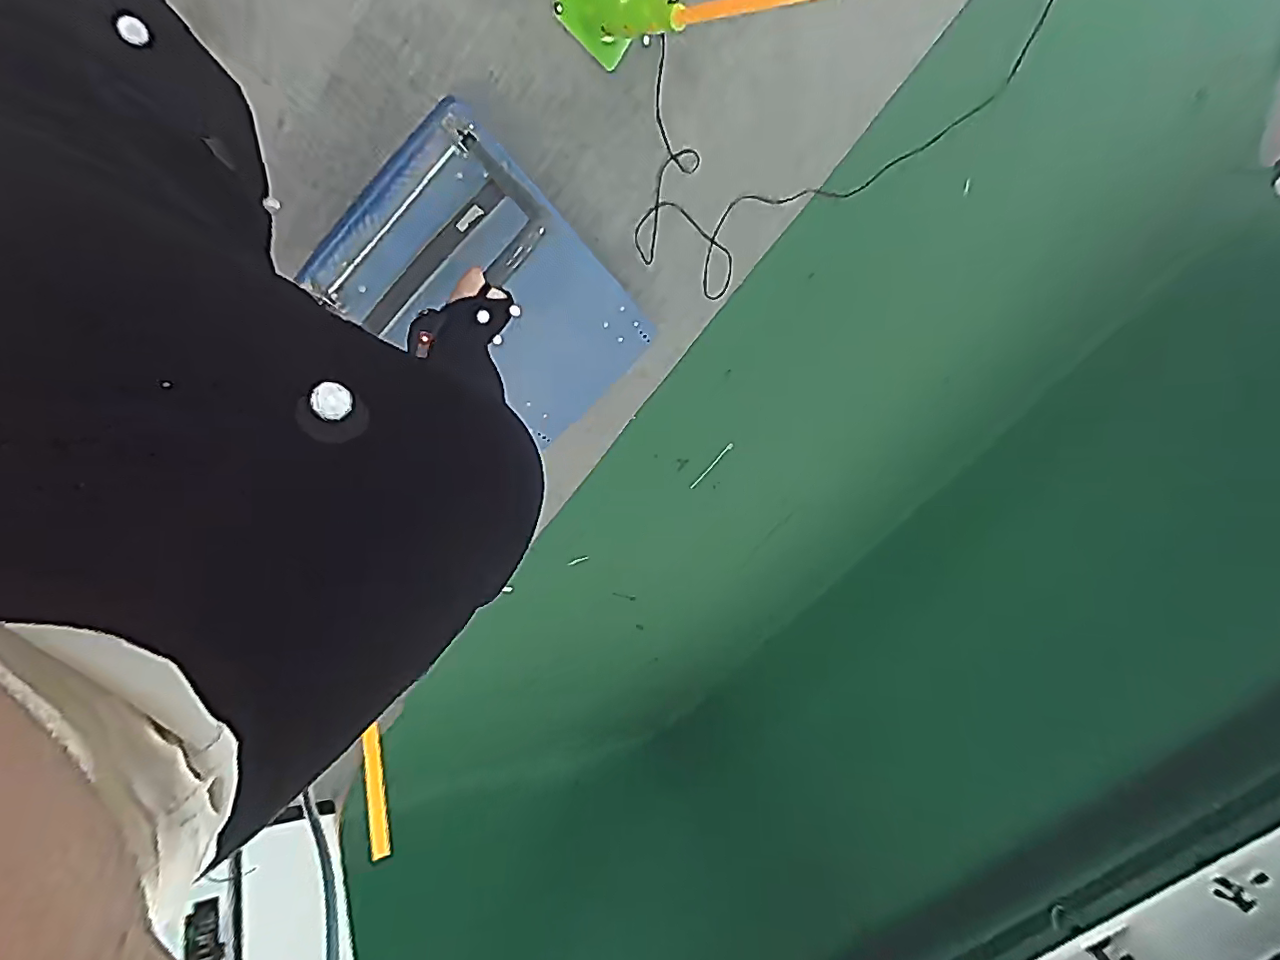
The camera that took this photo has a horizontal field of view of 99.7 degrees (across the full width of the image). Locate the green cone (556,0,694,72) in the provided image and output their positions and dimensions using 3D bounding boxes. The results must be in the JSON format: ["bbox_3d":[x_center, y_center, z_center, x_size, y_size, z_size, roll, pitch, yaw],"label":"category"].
[{"bbox_3d":[0.004,-1.009,1.162,0.200,0.368,0.202,15,118,-45],"label":"green cone"}]
